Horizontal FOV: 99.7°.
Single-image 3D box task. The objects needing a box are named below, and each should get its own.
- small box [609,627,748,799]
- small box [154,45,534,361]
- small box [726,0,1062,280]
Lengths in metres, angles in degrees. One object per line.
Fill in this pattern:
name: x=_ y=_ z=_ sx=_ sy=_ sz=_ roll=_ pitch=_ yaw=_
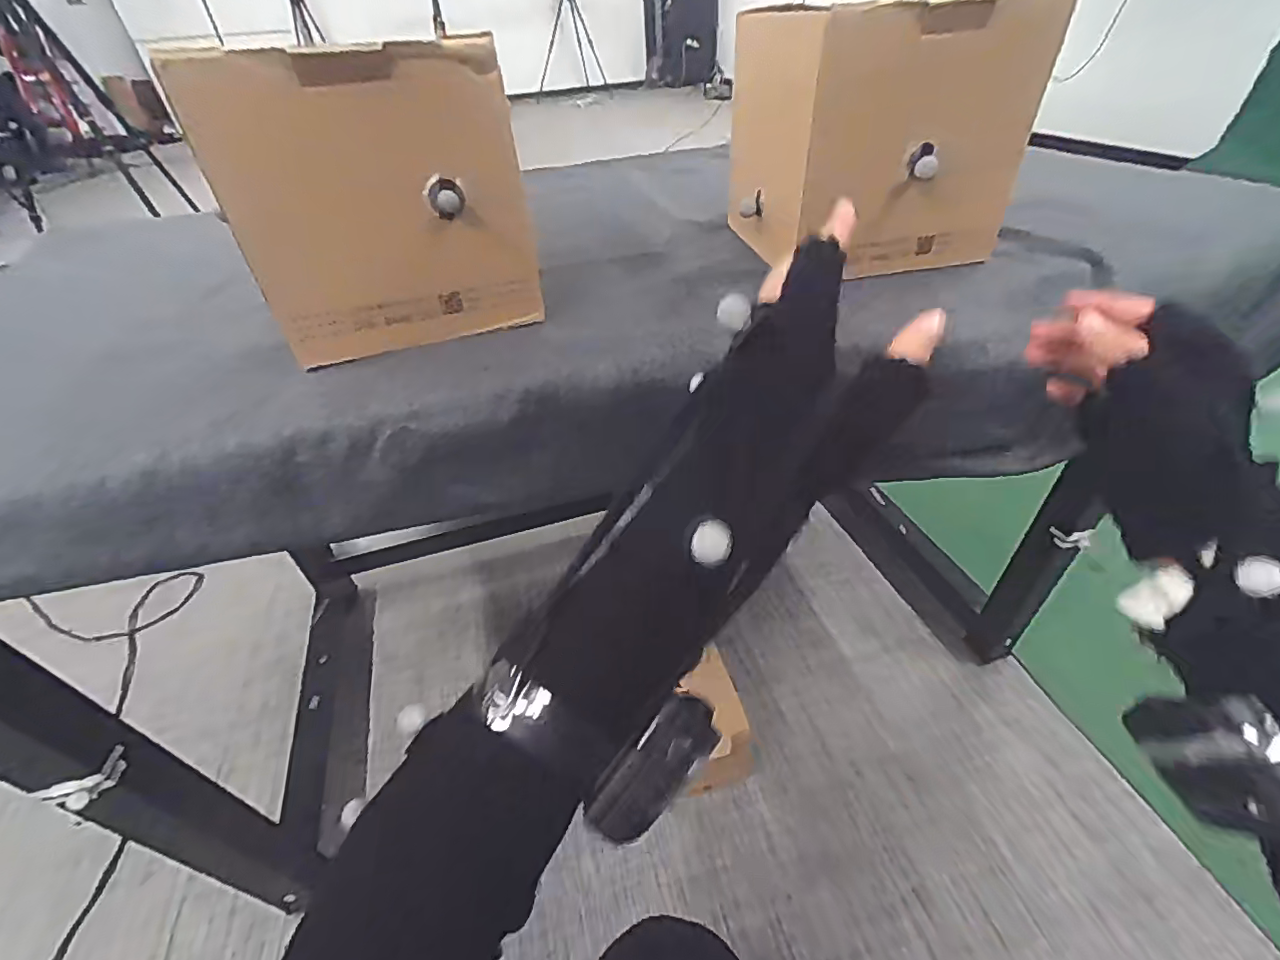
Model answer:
small box: x=0.057 y=0.362 z=0.831 sx=0.168 sy=0.176 sz=0.179 roll=-12 pitch=40 yaw=-8
small box: x=-0.183 y=-0.198 z=0.390 sx=0.168 sy=0.176 sz=0.179 roll=-16 pitch=39 yaw=-15
small box: x=0.173 y=-0.272 z=0.439 sx=0.168 sy=0.176 sz=0.179 roll=-9 pitch=41 yaw=-5
